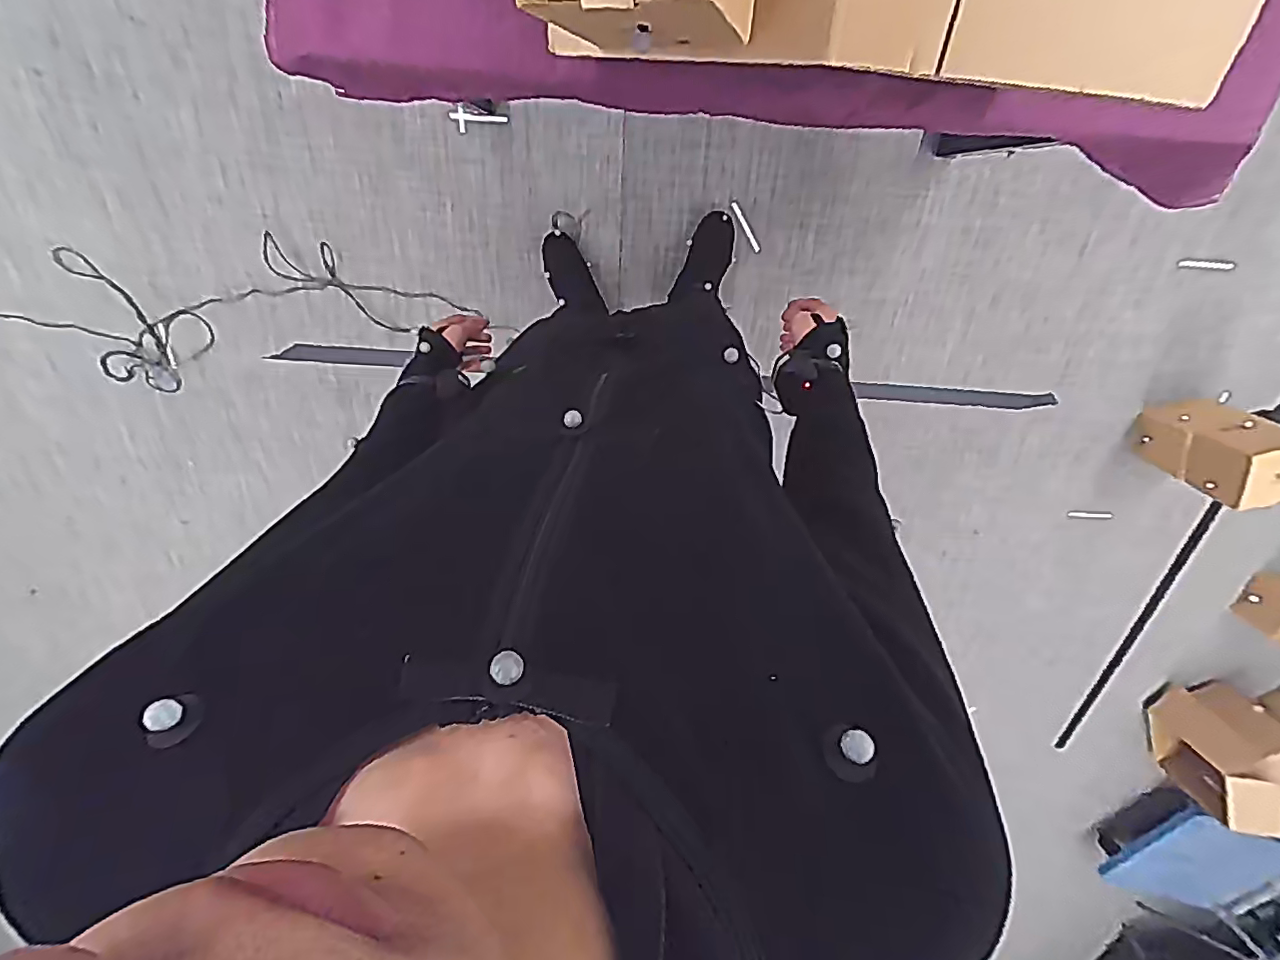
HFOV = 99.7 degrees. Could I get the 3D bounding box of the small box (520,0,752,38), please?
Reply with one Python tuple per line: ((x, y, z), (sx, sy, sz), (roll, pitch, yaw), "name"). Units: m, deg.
((0.008, -0.485, 0.442), (0.168, 0.176, 0.179), (13, 121, 16), "small box")
